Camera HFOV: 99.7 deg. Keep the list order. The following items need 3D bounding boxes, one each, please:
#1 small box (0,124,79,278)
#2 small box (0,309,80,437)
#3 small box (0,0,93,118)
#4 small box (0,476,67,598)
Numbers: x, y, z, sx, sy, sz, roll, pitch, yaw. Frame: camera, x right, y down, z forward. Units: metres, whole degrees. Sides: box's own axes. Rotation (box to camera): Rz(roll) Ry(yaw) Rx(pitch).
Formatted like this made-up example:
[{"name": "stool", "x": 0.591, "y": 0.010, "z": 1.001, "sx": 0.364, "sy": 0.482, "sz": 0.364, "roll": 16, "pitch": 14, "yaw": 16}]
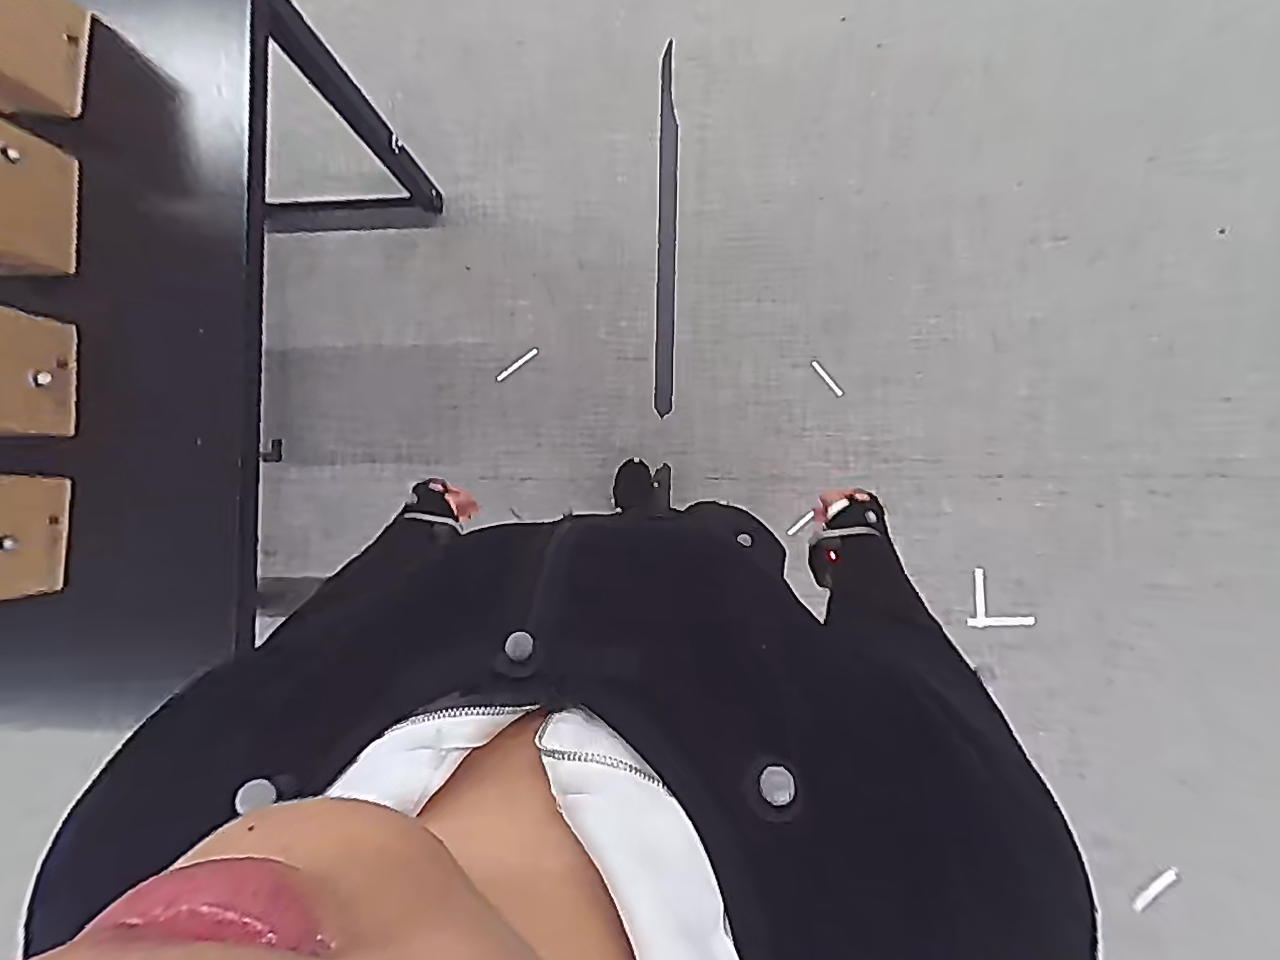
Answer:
[{"name": "small box", "x": -0.937, "y": -0.397, "z": 0.745, "sx": 0.168, "sy": 0.176, "sz": 0.179, "roll": 1, "pitch": 90, "yaw": 4}, {"name": "small box", "x": -0.939, "y": -0.149, "z": 0.738, "sx": 0.179, "sy": 0.176, "sz": 0.168, "roll": 0, "pitch": 89, "yaw": 2}, {"name": "small box", "x": -0.932, "y": -0.638, "z": 0.748, "sx": 0.179, "sy": 0.176, "sz": 0.168, "roll": 6, "pitch": 90, "yaw": 4}, {"name": "small box", "x": -0.946, "y": 0.076, "z": 0.733, "sx": 0.179, "sy": 0.176, "sz": 0.168, "roll": 4, "pitch": 88, "yaw": 3}]
